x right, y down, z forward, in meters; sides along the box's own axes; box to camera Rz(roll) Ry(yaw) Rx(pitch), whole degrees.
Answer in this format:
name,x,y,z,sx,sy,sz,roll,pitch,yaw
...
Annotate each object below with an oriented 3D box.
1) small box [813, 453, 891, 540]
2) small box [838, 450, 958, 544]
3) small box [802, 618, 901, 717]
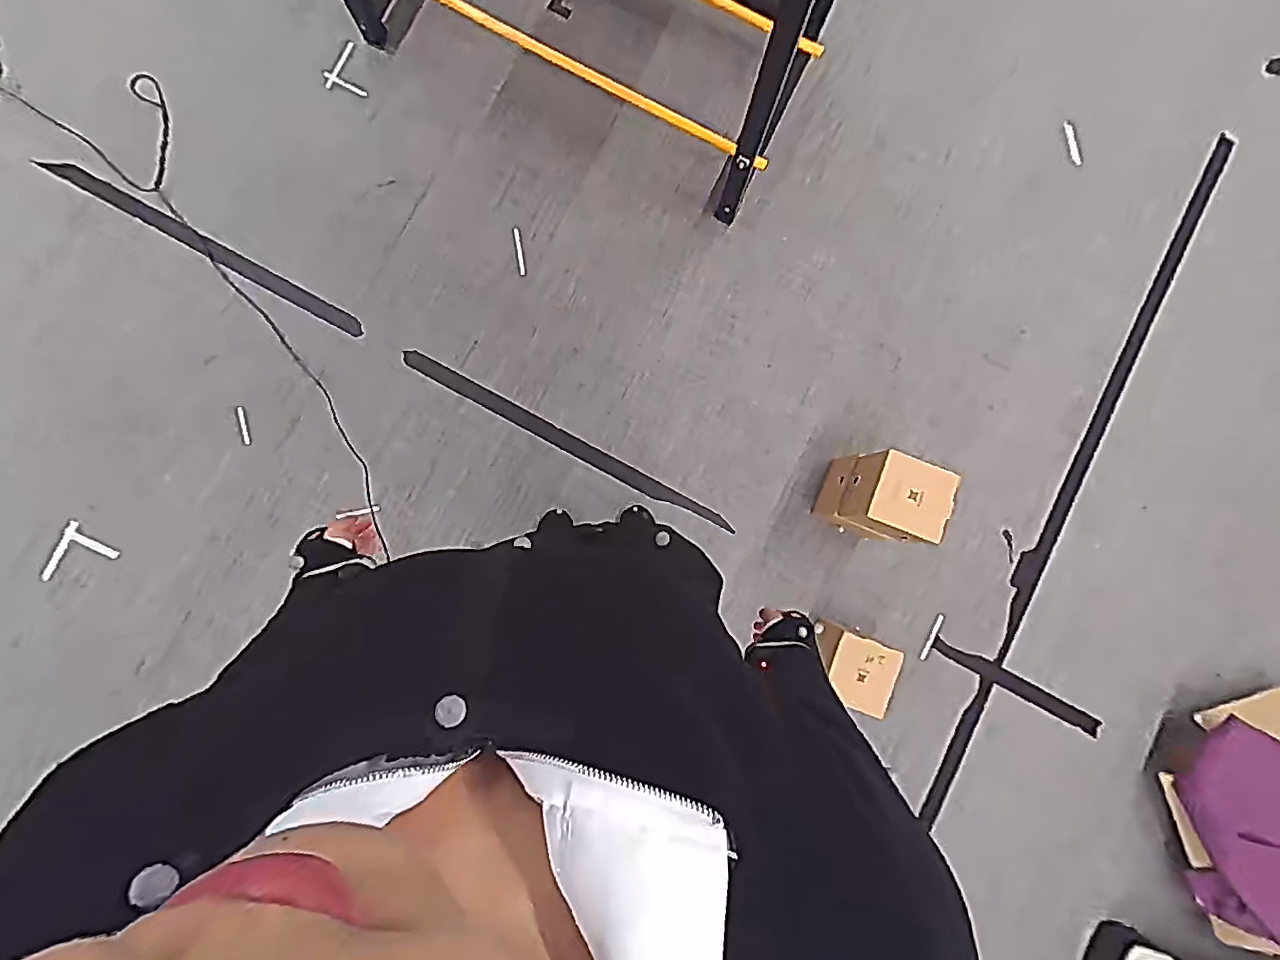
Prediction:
name,x,y,z,sx,sy,sz,roll,pitch,yaw
small box,0.590,0.045,1.449,0.168,0.176,0.179,24,87,0
small box,0.605,0.041,1.286,0.179,0.176,0.168,21,85,1
small box,0.545,0.485,1.425,0.168,0.176,0.179,21,86,-1
